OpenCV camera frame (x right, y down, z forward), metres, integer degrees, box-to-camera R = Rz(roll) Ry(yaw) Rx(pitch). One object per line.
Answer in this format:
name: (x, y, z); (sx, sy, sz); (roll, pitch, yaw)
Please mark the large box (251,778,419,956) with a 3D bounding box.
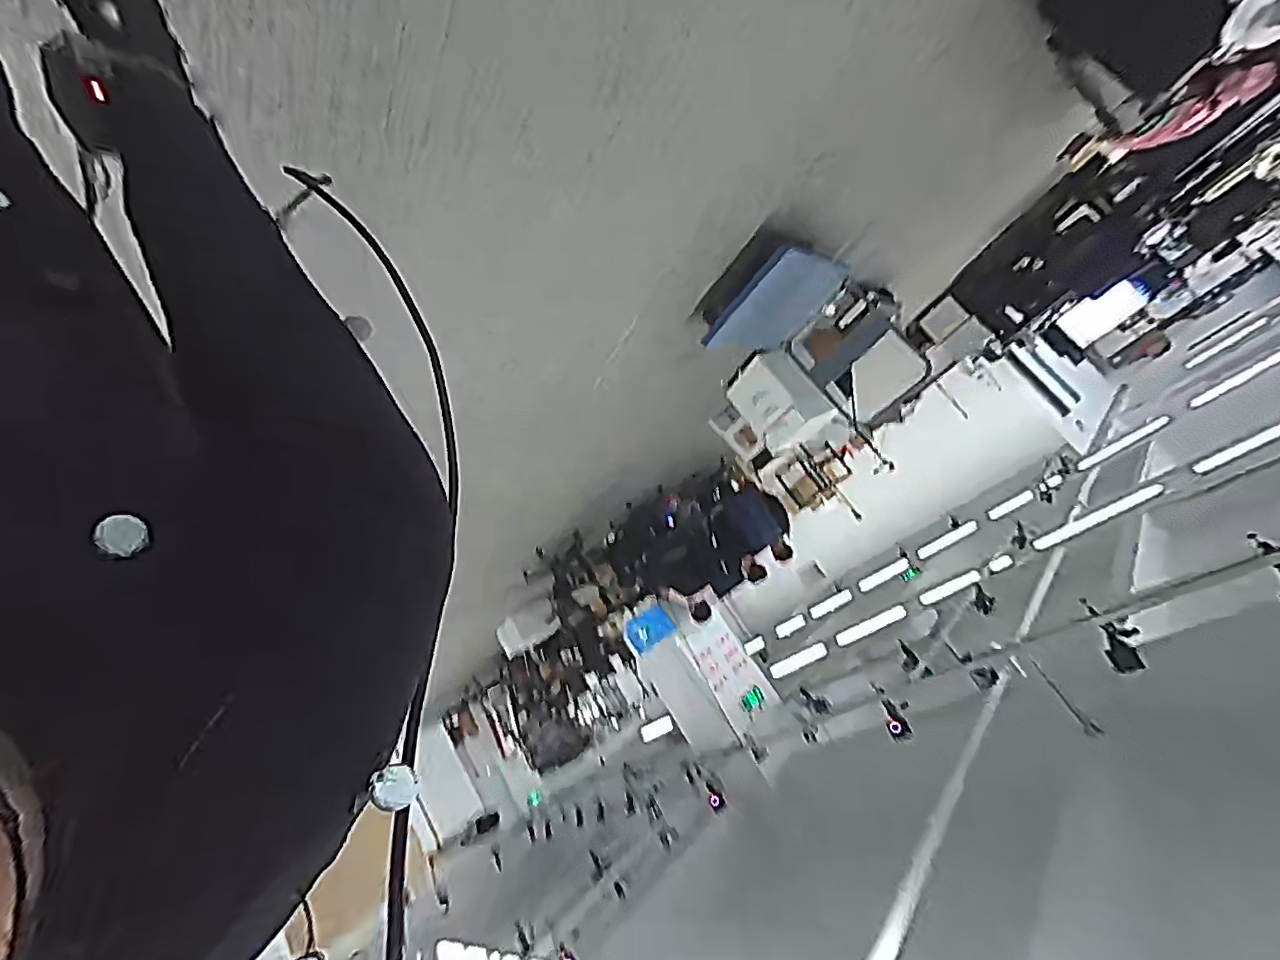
large box: (-1.045, 1.306, 1.856); (0.408, 0.320, 0.320); (-19, 158, -46)
